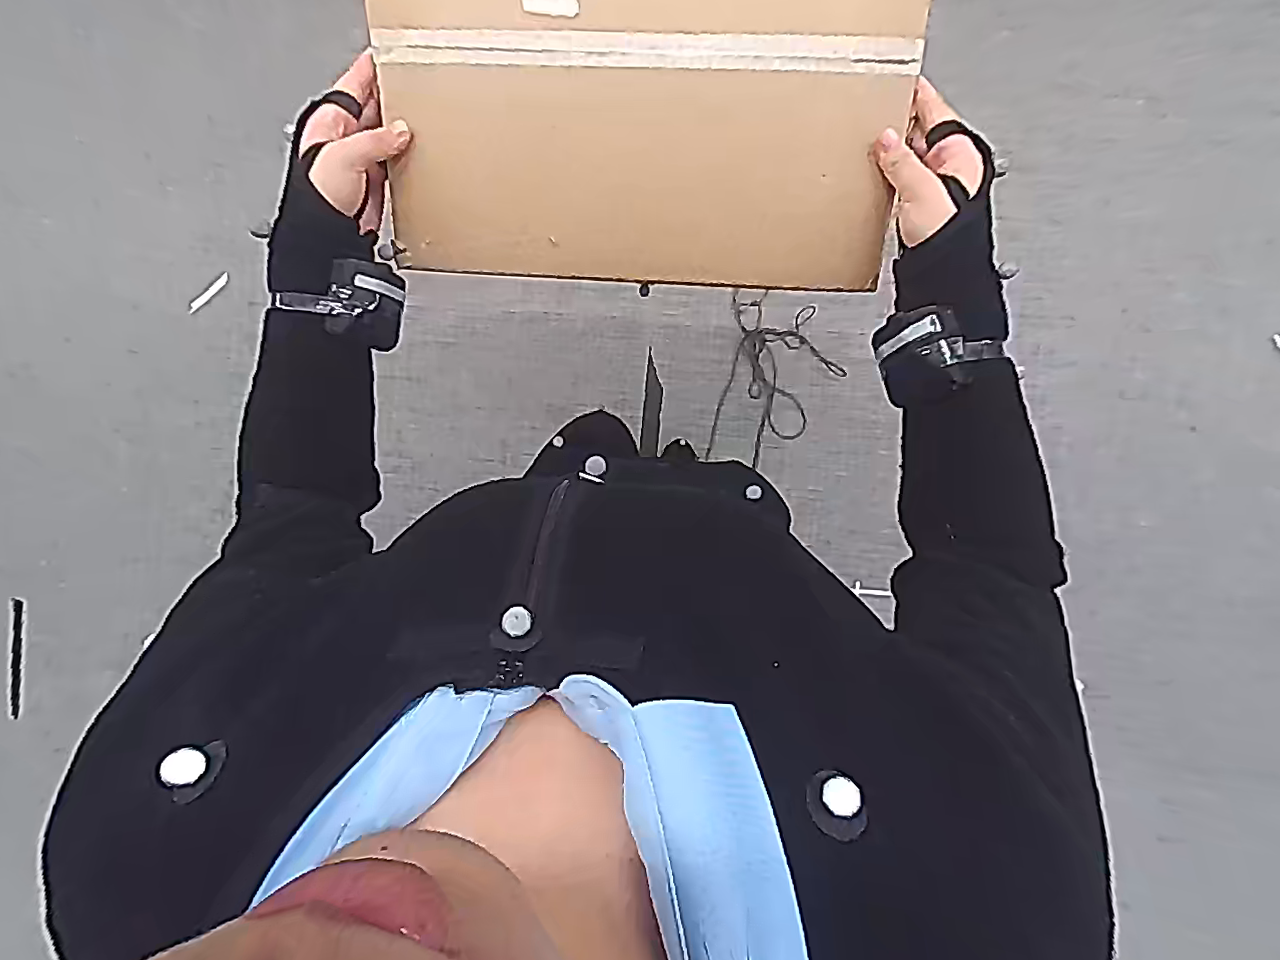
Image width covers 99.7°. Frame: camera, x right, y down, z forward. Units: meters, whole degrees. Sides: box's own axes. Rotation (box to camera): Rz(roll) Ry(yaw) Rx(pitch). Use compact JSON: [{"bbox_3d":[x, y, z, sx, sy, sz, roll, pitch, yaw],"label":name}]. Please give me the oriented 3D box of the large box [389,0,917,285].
[{"bbox_3d":[0.016,-0.372,0.556,0.408,0.320,0.320,3,110,4],"label":"large box"}]
